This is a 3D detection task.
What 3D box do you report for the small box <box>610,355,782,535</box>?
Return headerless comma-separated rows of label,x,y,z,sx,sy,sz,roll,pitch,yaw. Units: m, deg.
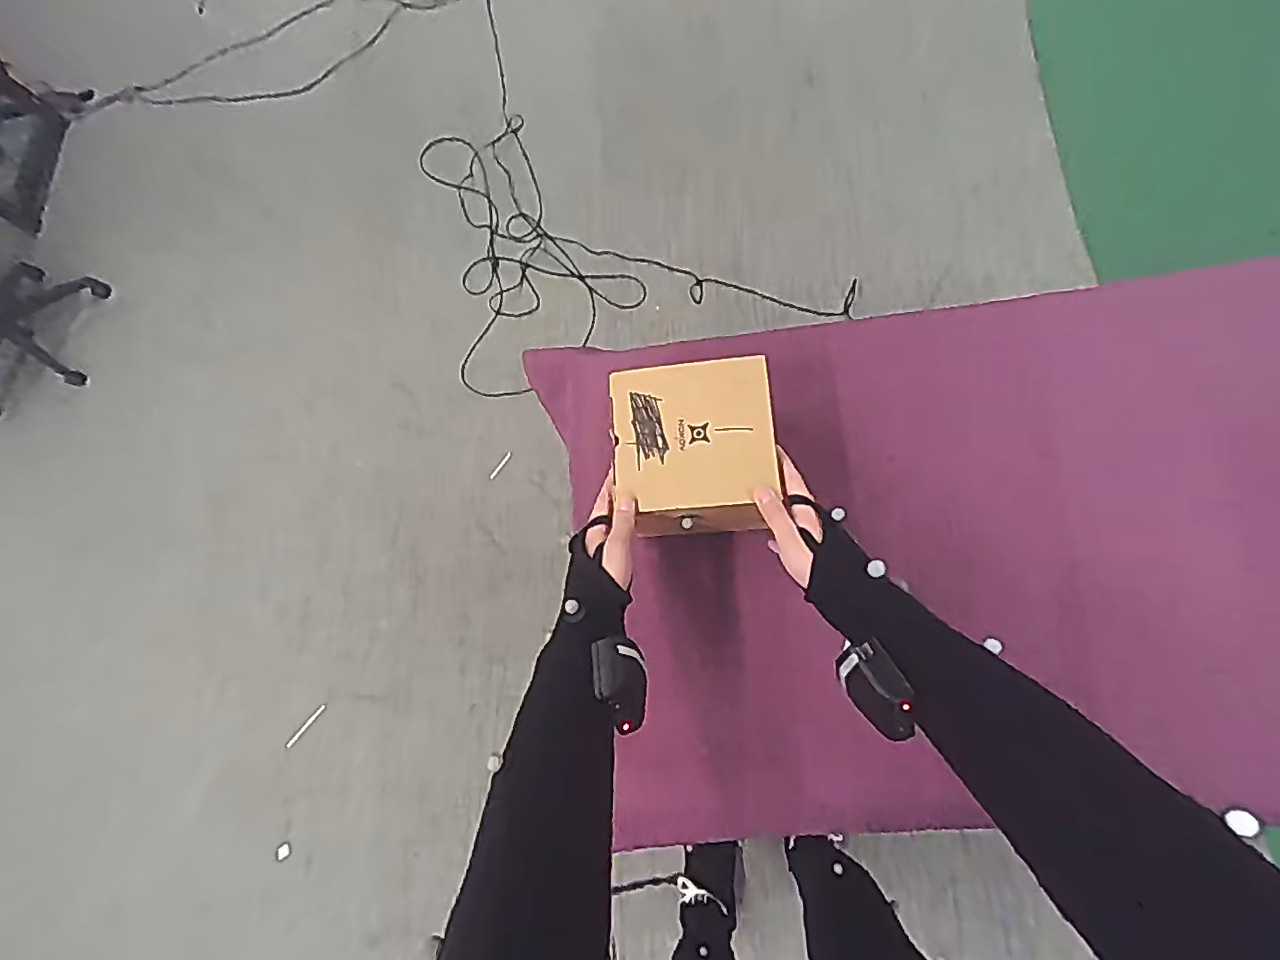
small box,0.068,-0.030,0.648,0.179,0.176,0.168,-5,76,8
